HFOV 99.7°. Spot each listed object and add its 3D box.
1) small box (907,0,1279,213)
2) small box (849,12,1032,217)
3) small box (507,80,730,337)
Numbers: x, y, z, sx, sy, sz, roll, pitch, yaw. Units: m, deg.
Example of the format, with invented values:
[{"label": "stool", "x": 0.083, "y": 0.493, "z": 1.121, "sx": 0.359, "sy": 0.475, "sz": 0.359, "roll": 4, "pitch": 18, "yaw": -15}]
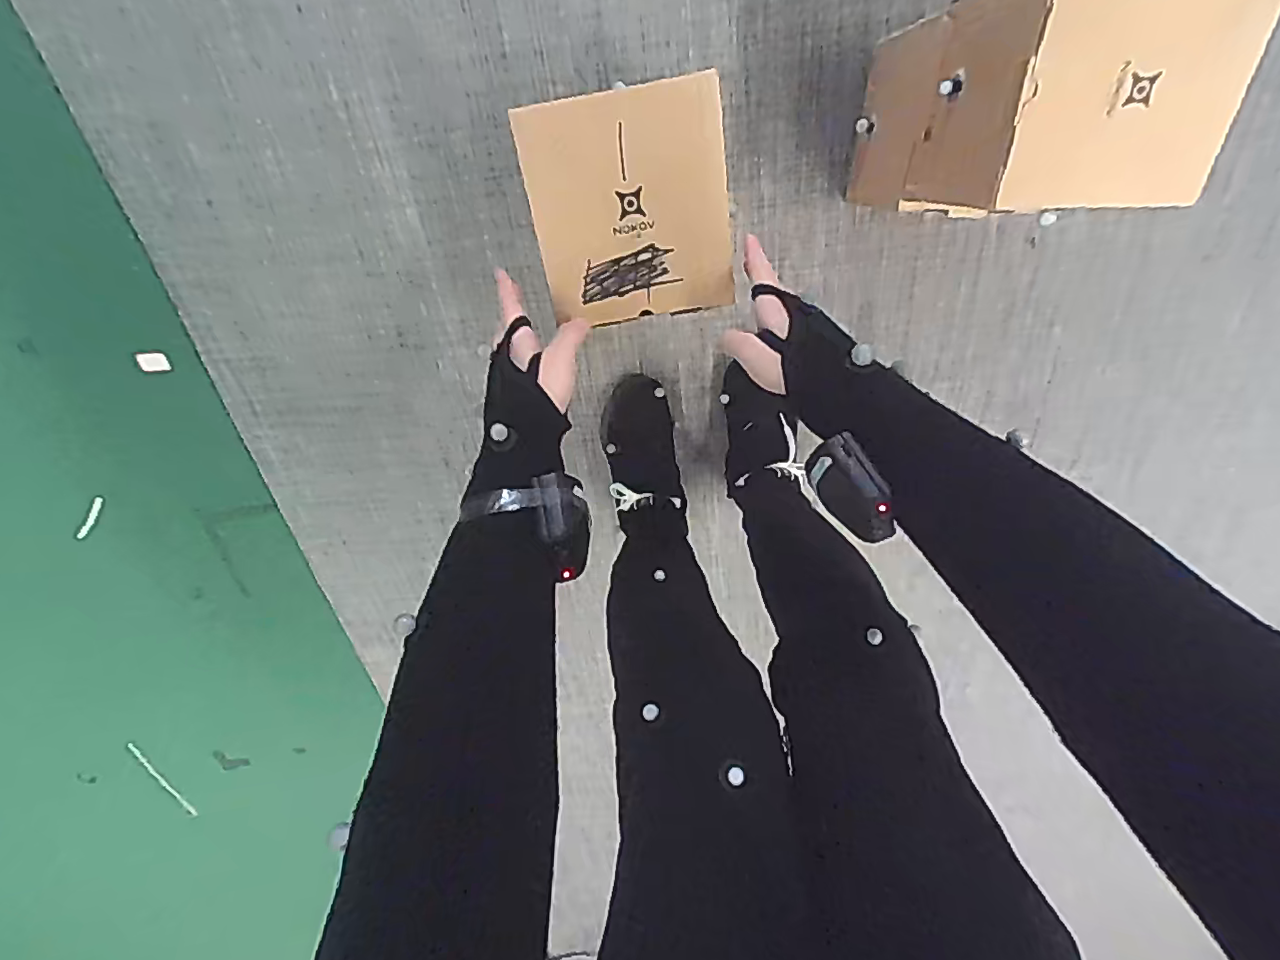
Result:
[{"label": "small box", "x": 0.375, "y": -0.339, "z": 0.485, "sx": 0.179, "sy": 0.176, "sz": 0.168, "roll": -1, "pitch": 121, "yaw": 1}, {"label": "small box", "x": 0.362, "y": -0.414, "z": 0.628, "sx": 0.168, "sy": 0.176, "sz": 0.179, "roll": -1, "pitch": 122, "yaw": -3}, {"label": "small box", "x": -0.011, "y": -0.257, "z": 0.523, "sx": 0.168, "sy": 0.176, "sz": 0.179, "roll": -9, "pitch": 119, "yaw": 4}]
